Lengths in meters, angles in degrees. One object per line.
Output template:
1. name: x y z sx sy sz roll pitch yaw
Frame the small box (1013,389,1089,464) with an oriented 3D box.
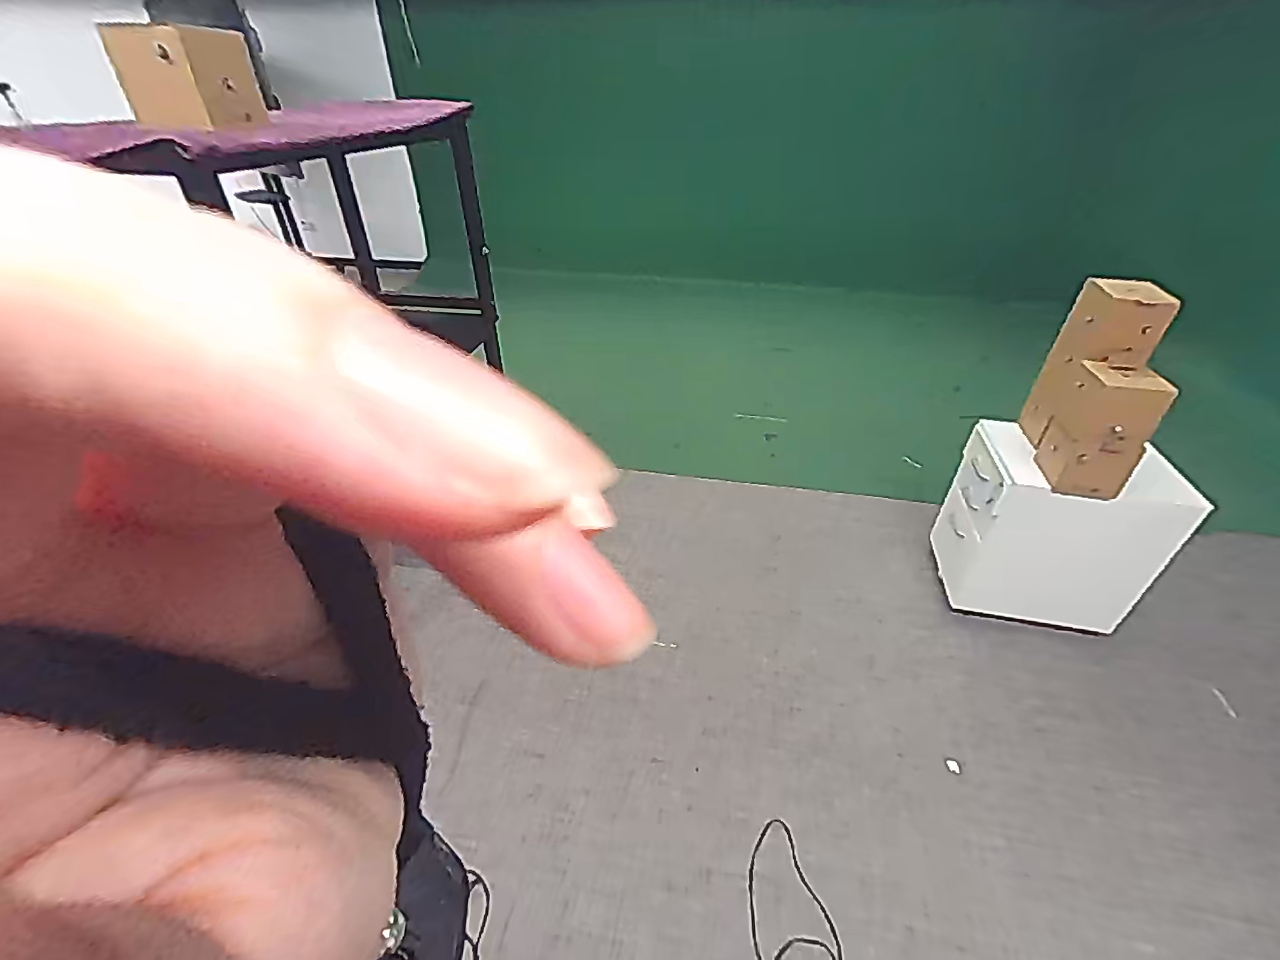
1. small box: 1.366 -0.177 1.774 0.168 0.176 0.179 7 37 9

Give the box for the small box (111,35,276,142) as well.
1. small box: -0.911 -0.810 1.126 0.179 0.176 0.168 6 34 7

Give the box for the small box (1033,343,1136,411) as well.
1. small box: 1.365 -0.310 1.678 0.168 0.176 0.179 9 38 10

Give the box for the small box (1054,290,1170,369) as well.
1. small box: 1.366 -0.440 1.580 0.168 0.176 0.179 9 37 8

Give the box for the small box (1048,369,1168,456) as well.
1. small box: 1.284 -0.189 1.503 0.168 0.176 0.179 8 35 10
